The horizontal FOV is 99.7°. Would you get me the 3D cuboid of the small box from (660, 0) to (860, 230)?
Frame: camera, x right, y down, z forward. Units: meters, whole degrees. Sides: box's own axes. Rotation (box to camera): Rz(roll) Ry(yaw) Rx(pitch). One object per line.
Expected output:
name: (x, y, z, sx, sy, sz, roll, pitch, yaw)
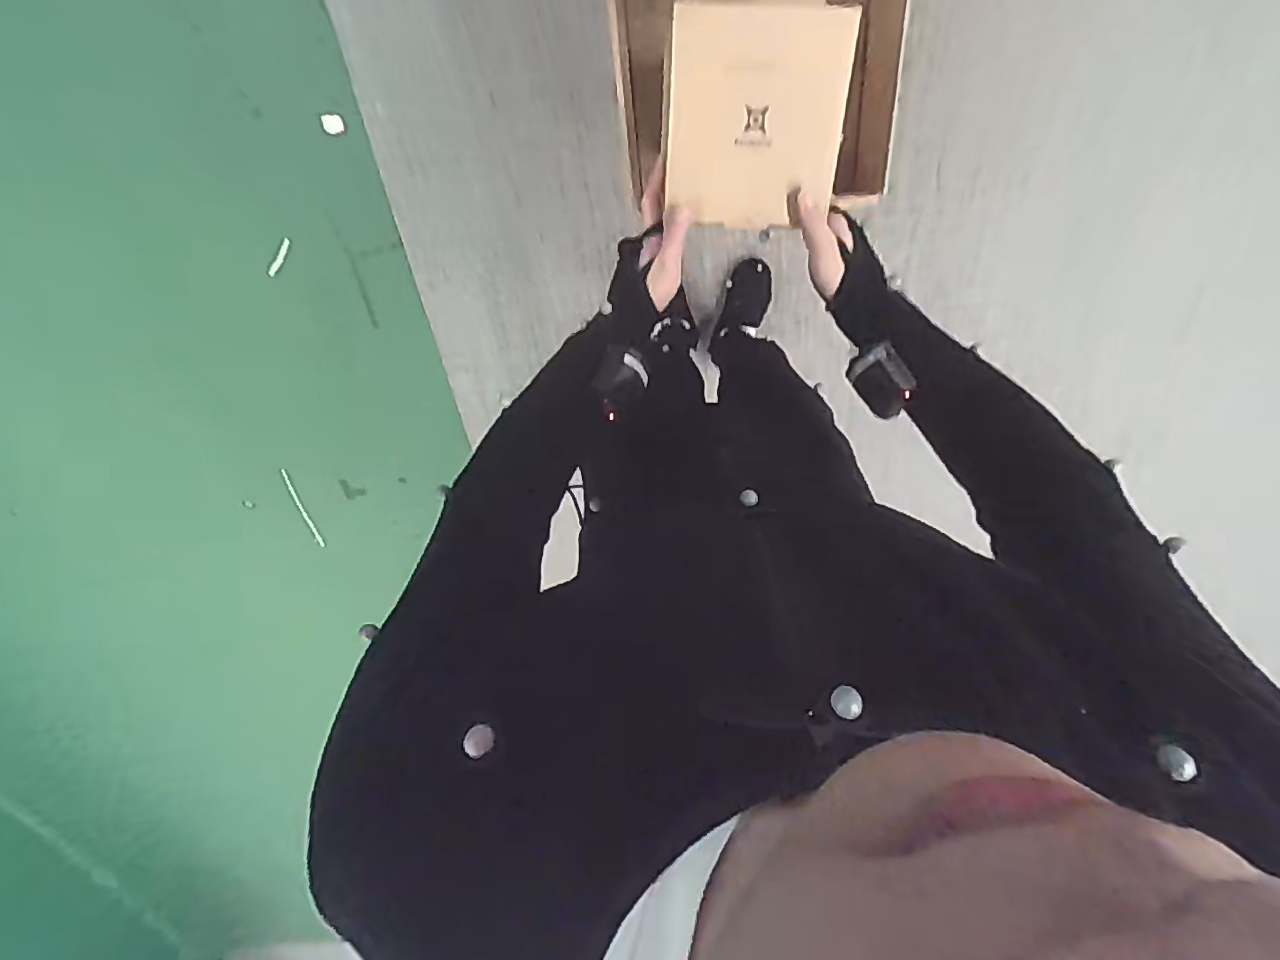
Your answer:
small box: (0.107, -0.366, 0.570, 0.168, 0.176, 0.179, 2, 116, 0)
